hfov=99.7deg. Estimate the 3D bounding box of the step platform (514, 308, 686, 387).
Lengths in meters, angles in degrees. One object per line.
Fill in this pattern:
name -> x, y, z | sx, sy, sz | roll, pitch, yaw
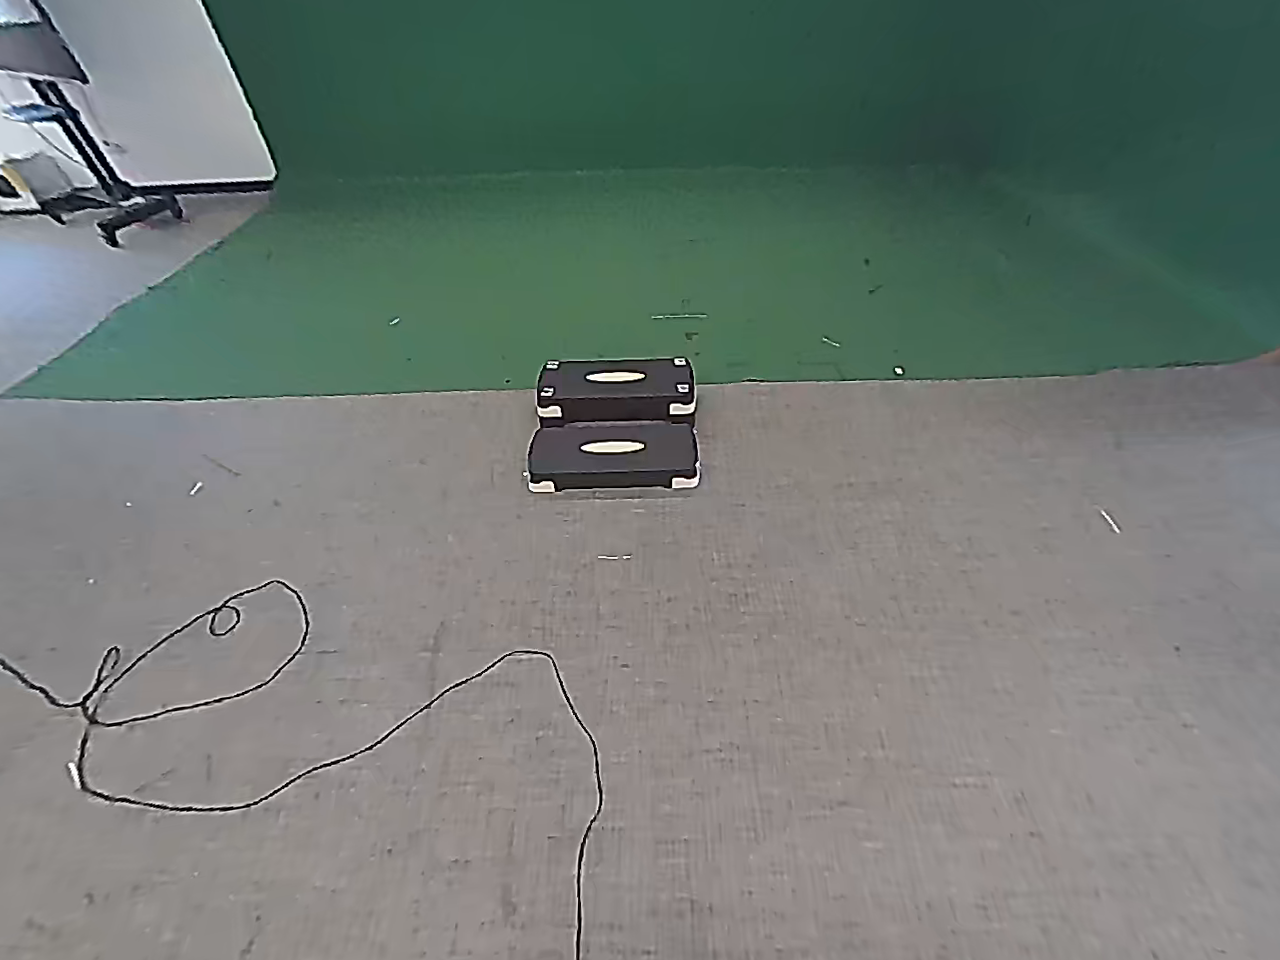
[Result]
step platform -> -0.154, -0.544, 2.224 | 0.684, 0.204, 0.286 | -2, 46, 1
